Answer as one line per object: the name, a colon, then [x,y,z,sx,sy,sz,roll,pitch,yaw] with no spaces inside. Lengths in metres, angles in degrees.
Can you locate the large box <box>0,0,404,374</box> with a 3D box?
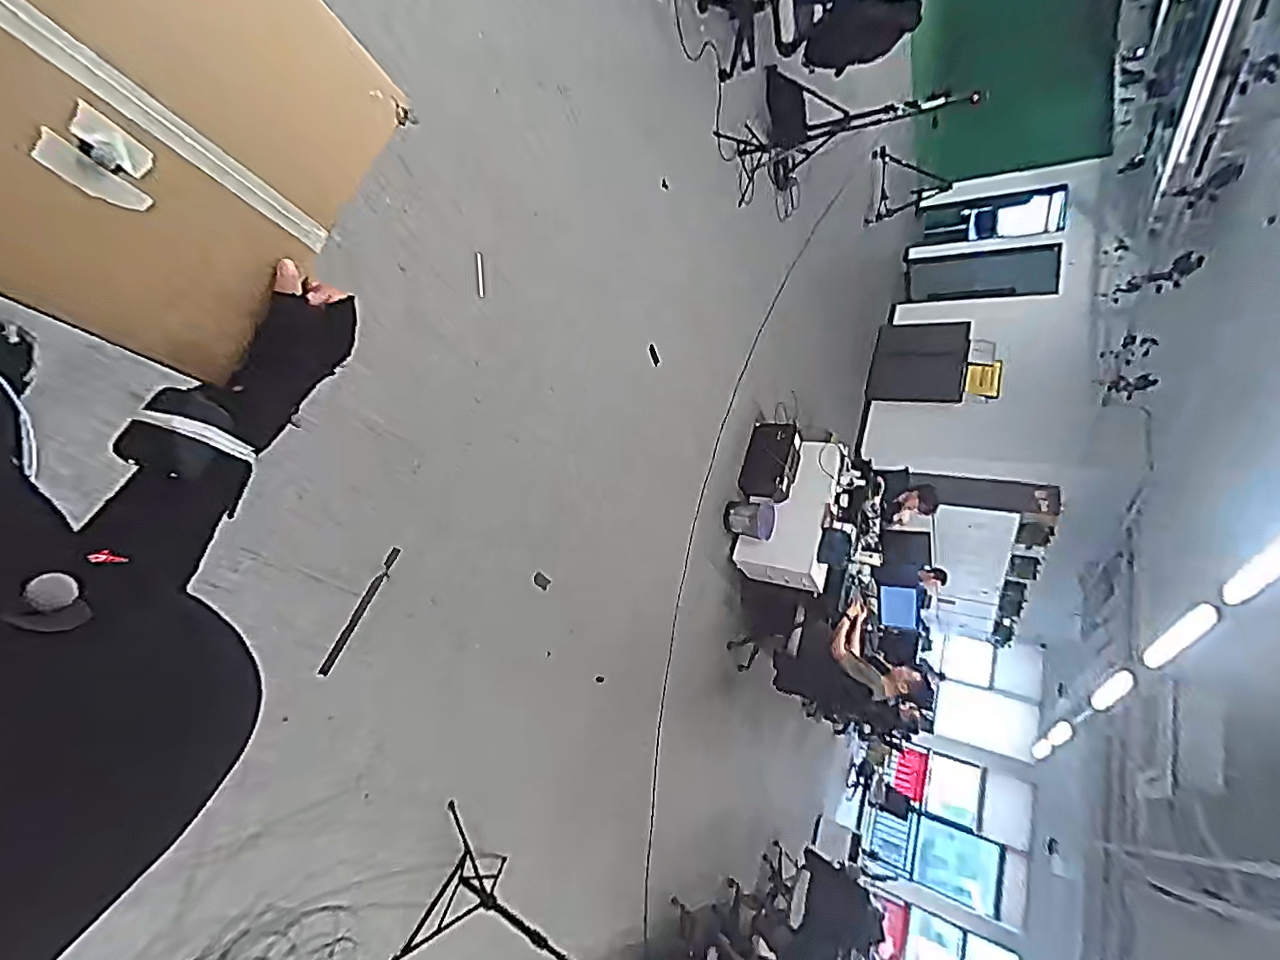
large box: [-0.495,-0.340,0.413,0.320,0.320,0.408,-61,147,-5]
